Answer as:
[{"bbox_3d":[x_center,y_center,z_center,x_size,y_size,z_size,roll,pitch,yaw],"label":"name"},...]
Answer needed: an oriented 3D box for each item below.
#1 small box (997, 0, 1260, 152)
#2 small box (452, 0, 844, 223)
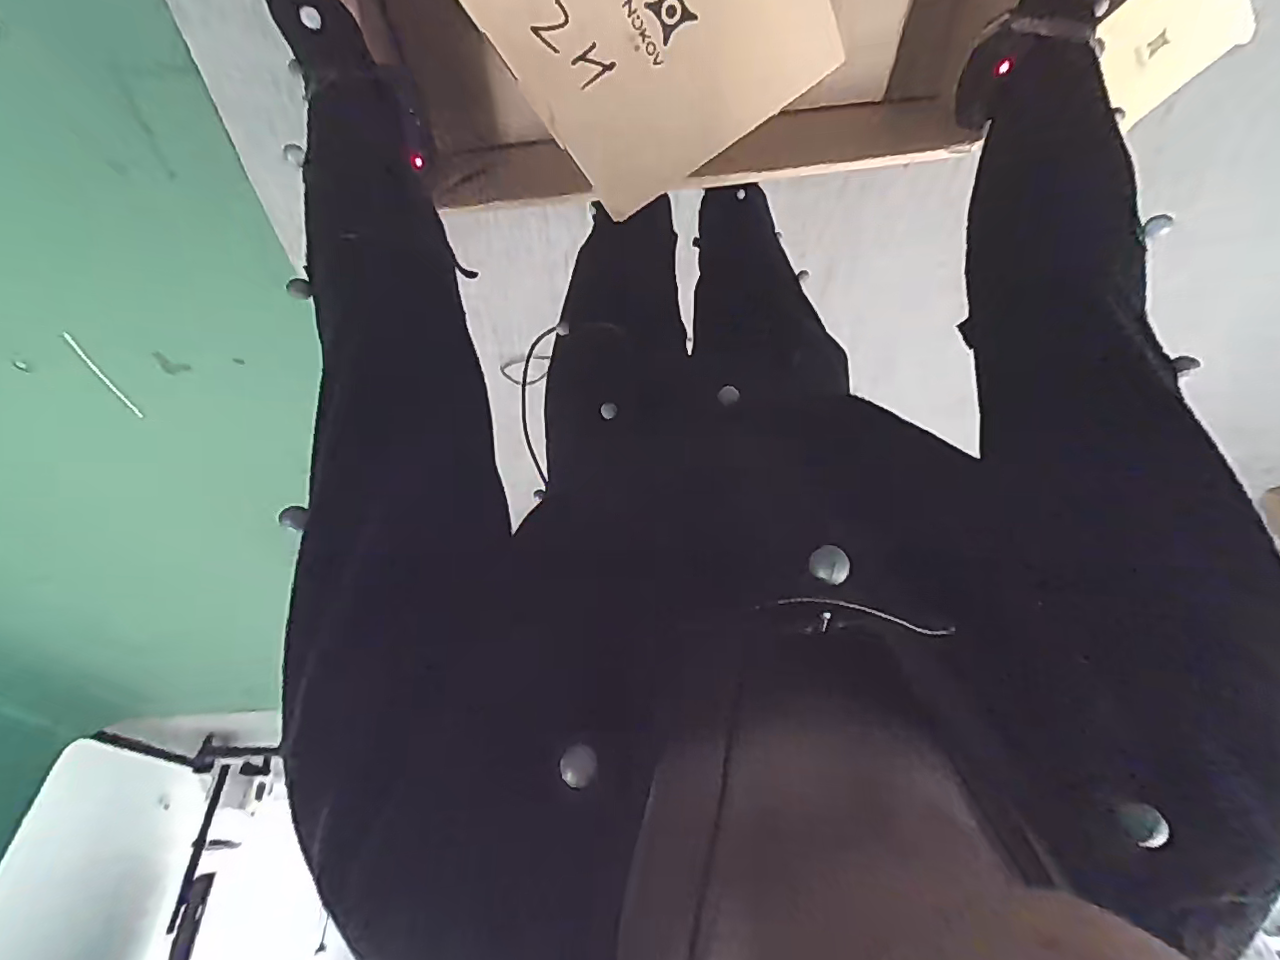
[{"bbox_3d":[0.615,-0.583,0.697,0.168,0.176,0.179,23,134,-32],"label":"small box"},{"bbox_3d":[0.002,-0.319,0.351,0.179,0.176,0.168,-25,136,23],"label":"small box"}]
